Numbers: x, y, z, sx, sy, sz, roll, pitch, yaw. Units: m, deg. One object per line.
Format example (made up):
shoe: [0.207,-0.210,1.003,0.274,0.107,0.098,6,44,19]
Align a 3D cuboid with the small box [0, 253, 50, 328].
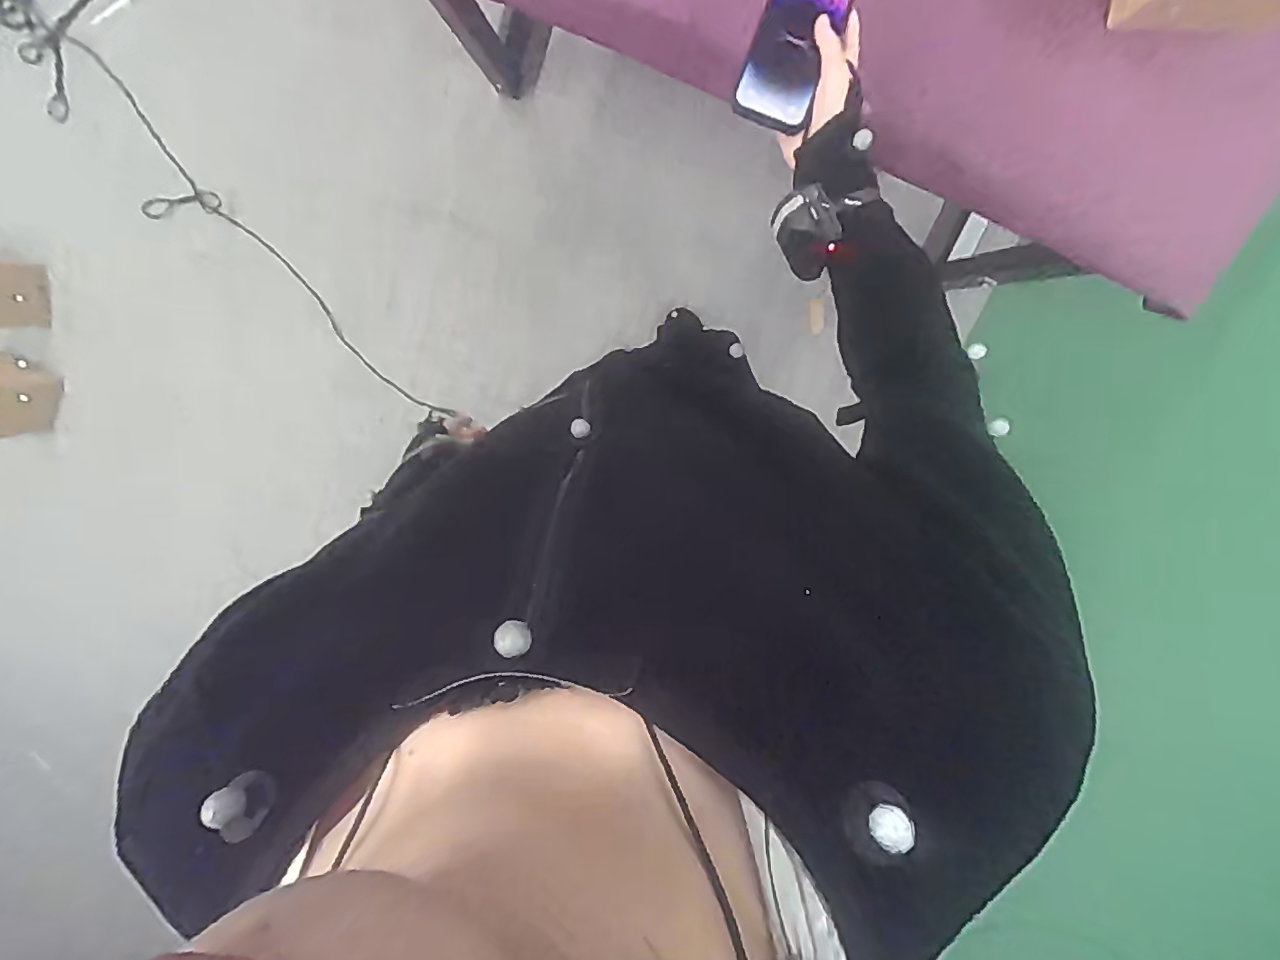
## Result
small box: [-1.682,-0.496,1.389,0.179,0.176,0.168,14,107,-1]

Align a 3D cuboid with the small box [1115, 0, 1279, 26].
small box: [0.601,-0.557,0.497,0.179,0.176,0.168,2,106,2]
